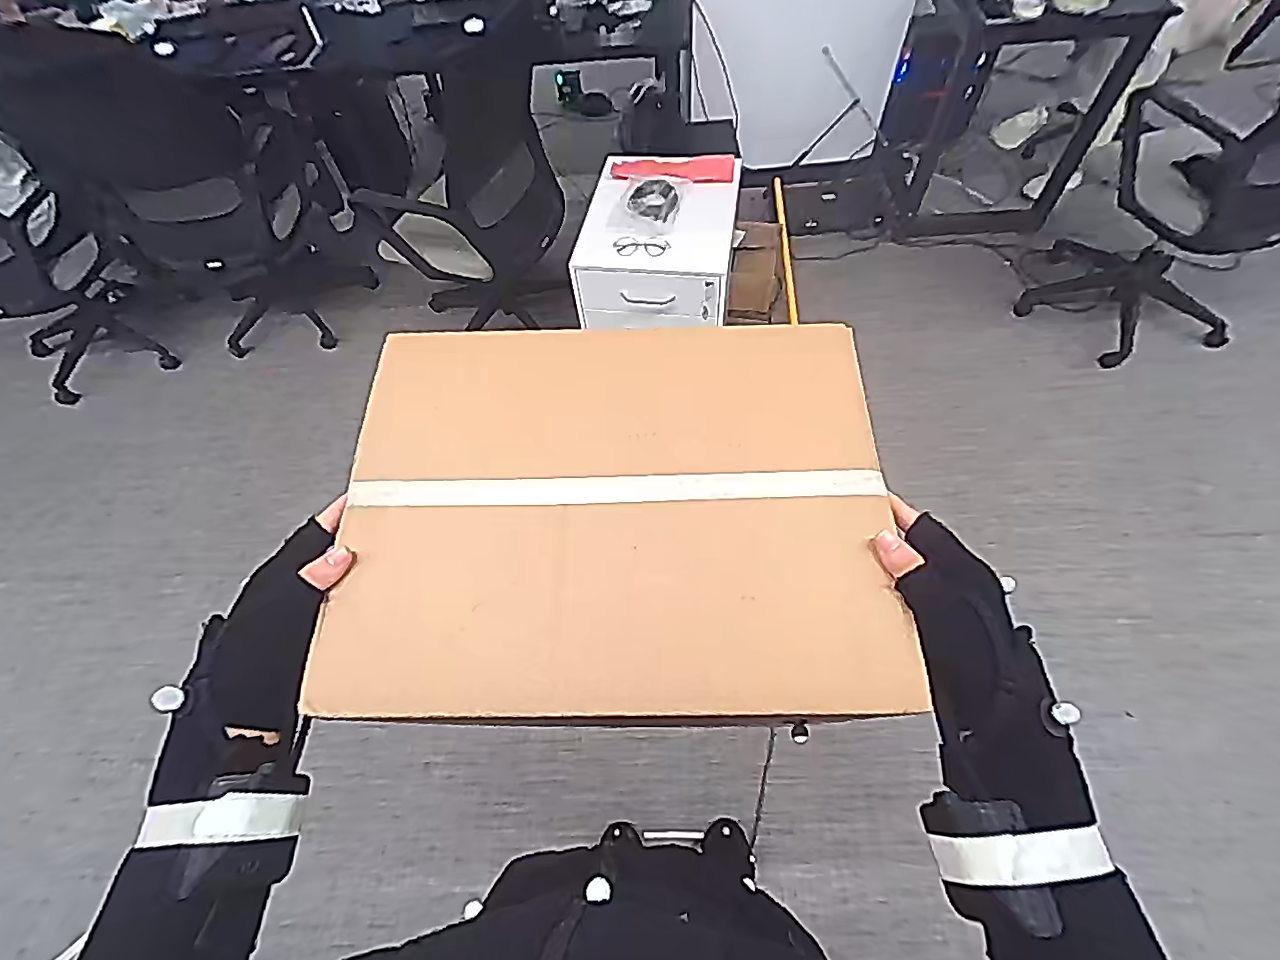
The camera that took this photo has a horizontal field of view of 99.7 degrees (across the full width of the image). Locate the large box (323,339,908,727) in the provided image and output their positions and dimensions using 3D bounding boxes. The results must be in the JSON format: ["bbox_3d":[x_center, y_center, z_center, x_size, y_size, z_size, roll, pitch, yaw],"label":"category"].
[{"bbox_3d":[-0.015,0.081,0.558,0.408,0.320,0.320,-1,64,2],"label":"large box"}]
